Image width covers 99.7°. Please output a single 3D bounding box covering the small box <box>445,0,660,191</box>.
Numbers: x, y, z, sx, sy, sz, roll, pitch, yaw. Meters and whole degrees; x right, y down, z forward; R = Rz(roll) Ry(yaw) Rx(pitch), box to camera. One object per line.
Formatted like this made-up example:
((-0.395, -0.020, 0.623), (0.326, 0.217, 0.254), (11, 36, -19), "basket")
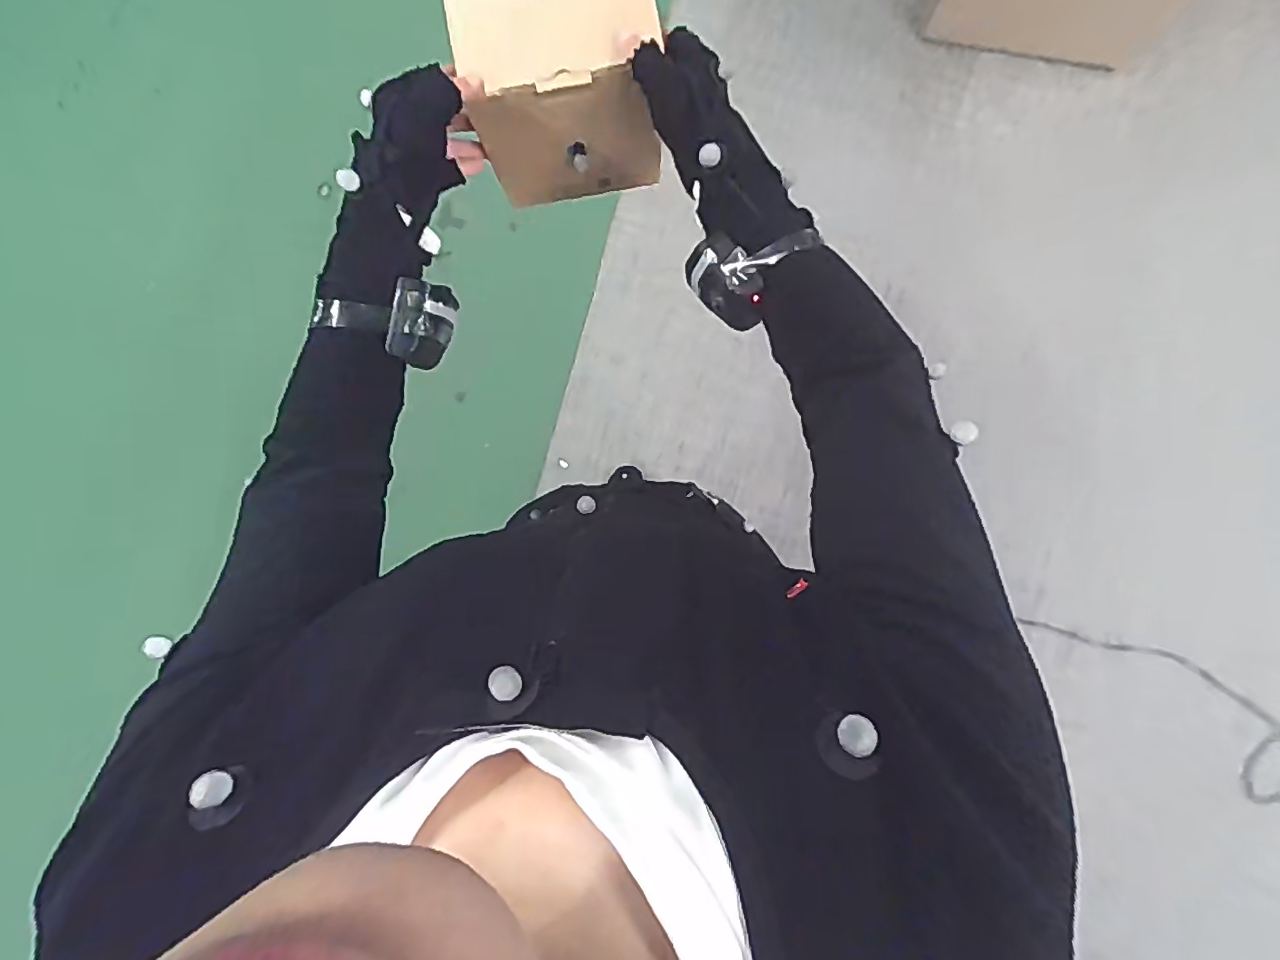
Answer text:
((-0.073, -0.396, 0.503), (0.168, 0.176, 0.179), (-8, 89, 0), "small box")
